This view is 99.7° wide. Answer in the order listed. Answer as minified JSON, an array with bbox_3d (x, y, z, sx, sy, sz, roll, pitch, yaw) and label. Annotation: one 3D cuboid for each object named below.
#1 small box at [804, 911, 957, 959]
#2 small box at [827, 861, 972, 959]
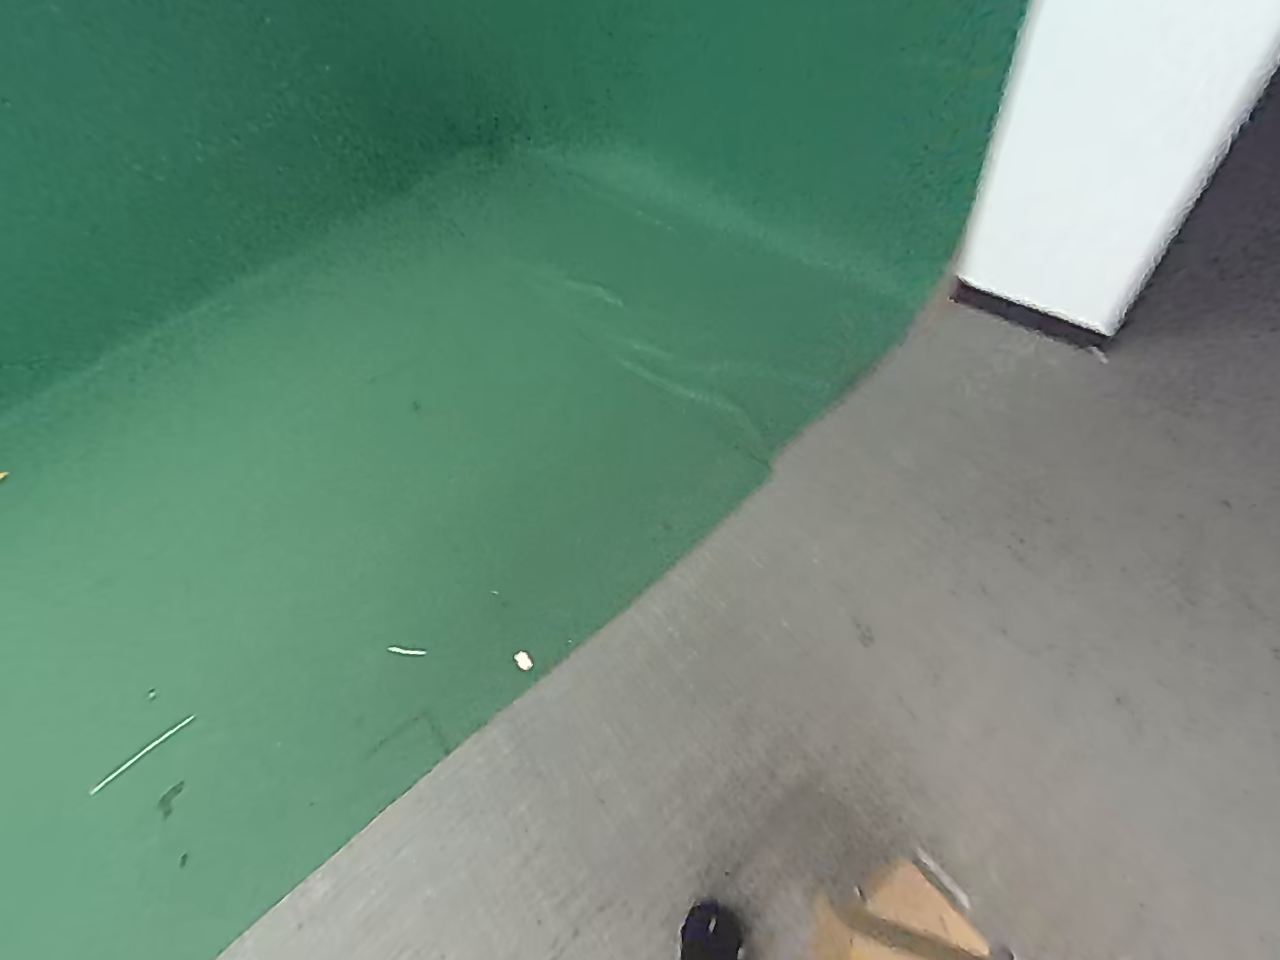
[{"bbox_3d":[0.182,0.399,0.321,0.168,0.176,0.179,10,65,16],"label":"small box"},{"bbox_3d":[0.436,0.811,0.954,0.179,0.176,0.168,-38,55,-11],"label":"small box"}]
